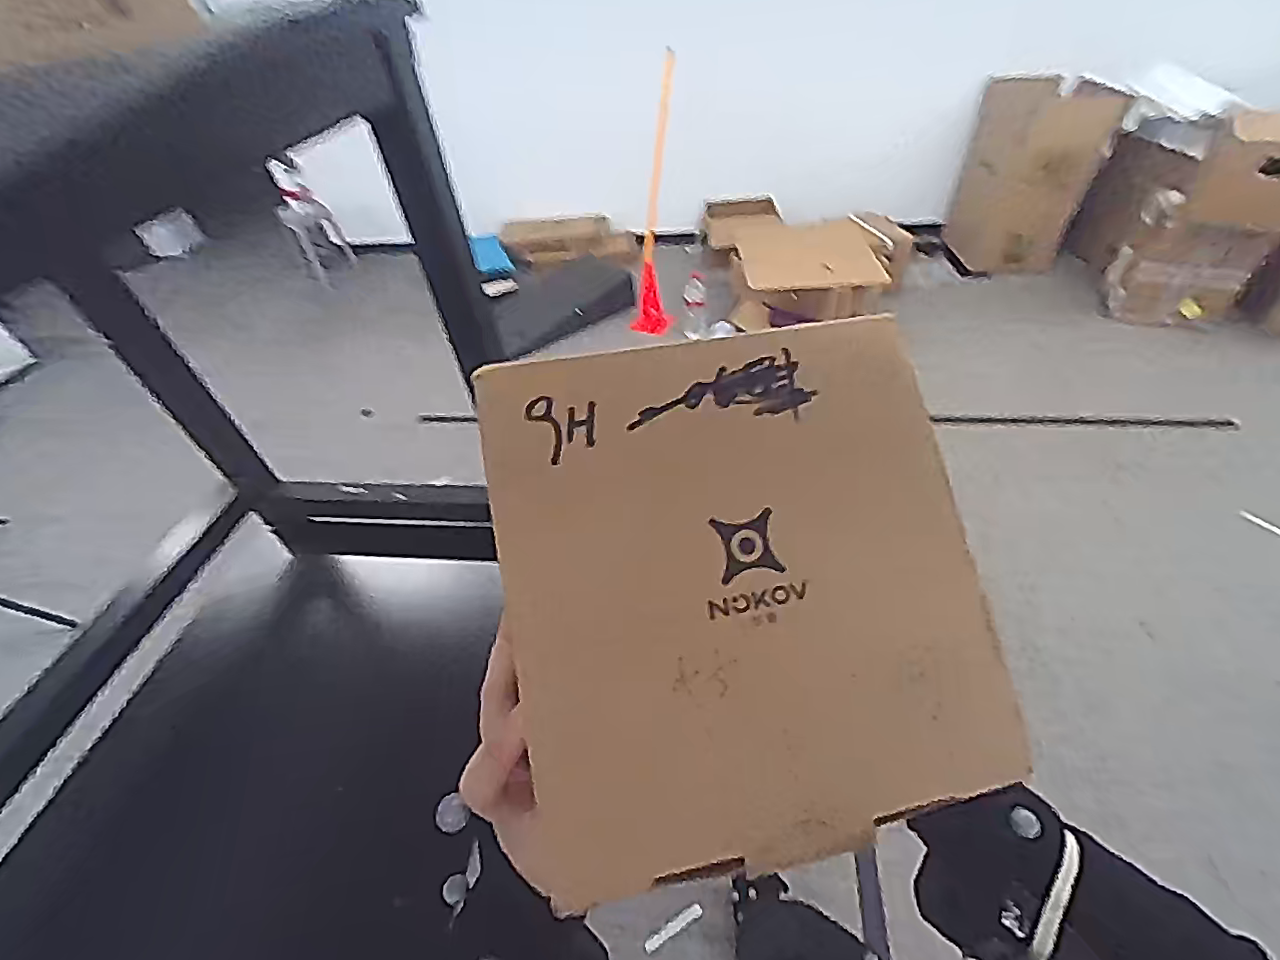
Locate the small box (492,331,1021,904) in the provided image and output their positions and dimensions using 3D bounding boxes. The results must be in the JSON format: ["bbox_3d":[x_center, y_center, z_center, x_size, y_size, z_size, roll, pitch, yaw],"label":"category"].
[{"bbox_3d":[0.031,0.050,0.269,0.168,0.176,0.179,-9,80,-10],"label":"small box"}]

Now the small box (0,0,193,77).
[{"bbox_3d":[-0.390,-0.296,0.258,0.179,0.176,0.168,2,47,9],"label":"small box"}]
